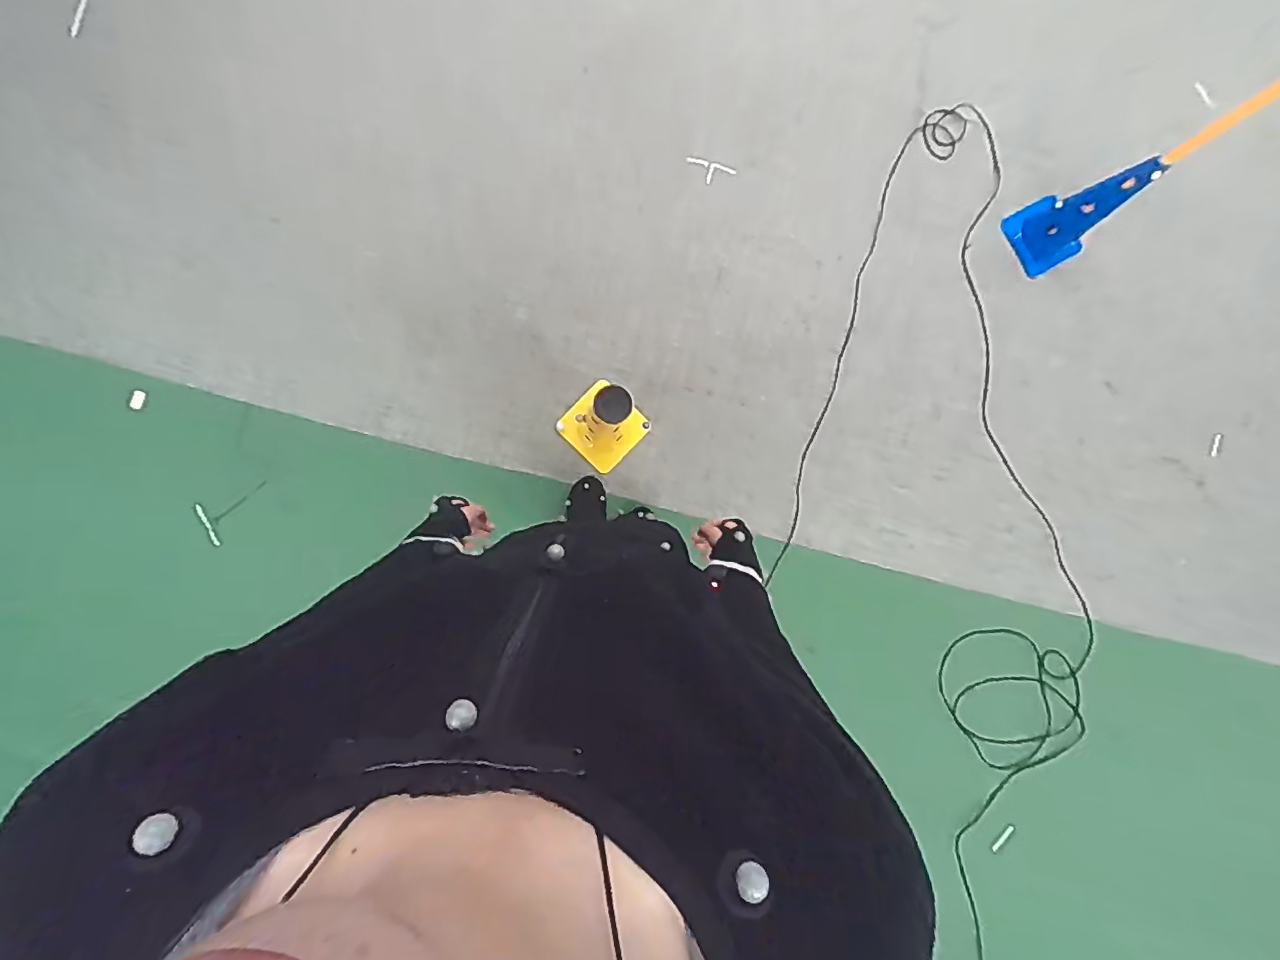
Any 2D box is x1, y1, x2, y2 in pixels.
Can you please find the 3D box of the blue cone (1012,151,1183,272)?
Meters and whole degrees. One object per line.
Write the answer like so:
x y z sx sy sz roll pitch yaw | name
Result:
1.225 -0.744 1.440 0.193 0.380 0.192 -31 90 -7 | blue cone
